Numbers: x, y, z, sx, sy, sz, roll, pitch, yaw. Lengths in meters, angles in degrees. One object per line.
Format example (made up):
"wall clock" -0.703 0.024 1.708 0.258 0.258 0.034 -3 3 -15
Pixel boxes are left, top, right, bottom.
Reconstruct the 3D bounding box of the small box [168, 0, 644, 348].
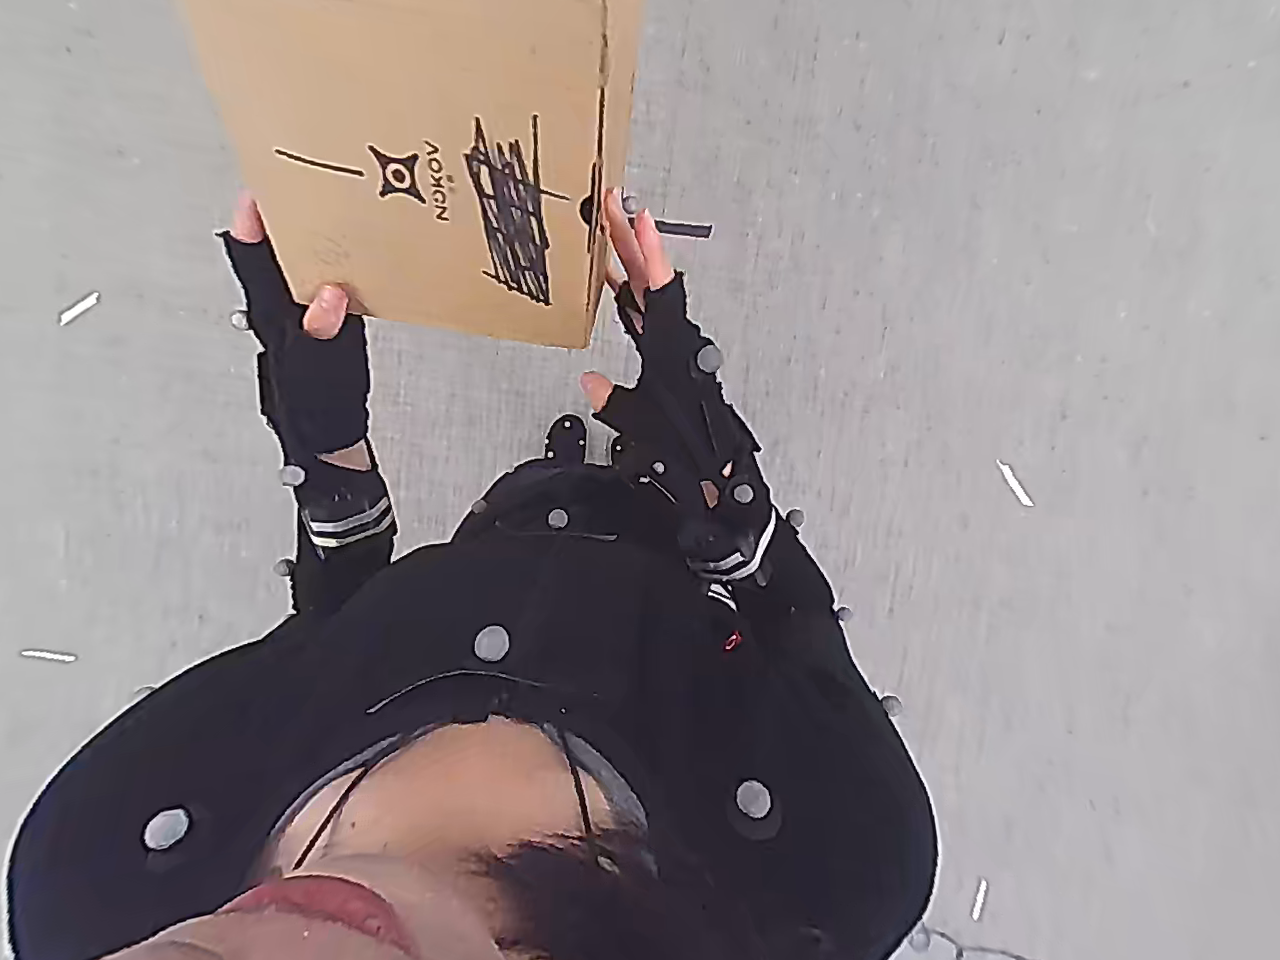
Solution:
"small box" -0.097 -0.203 0.303 0.179 0.176 0.168 10 139 -2
